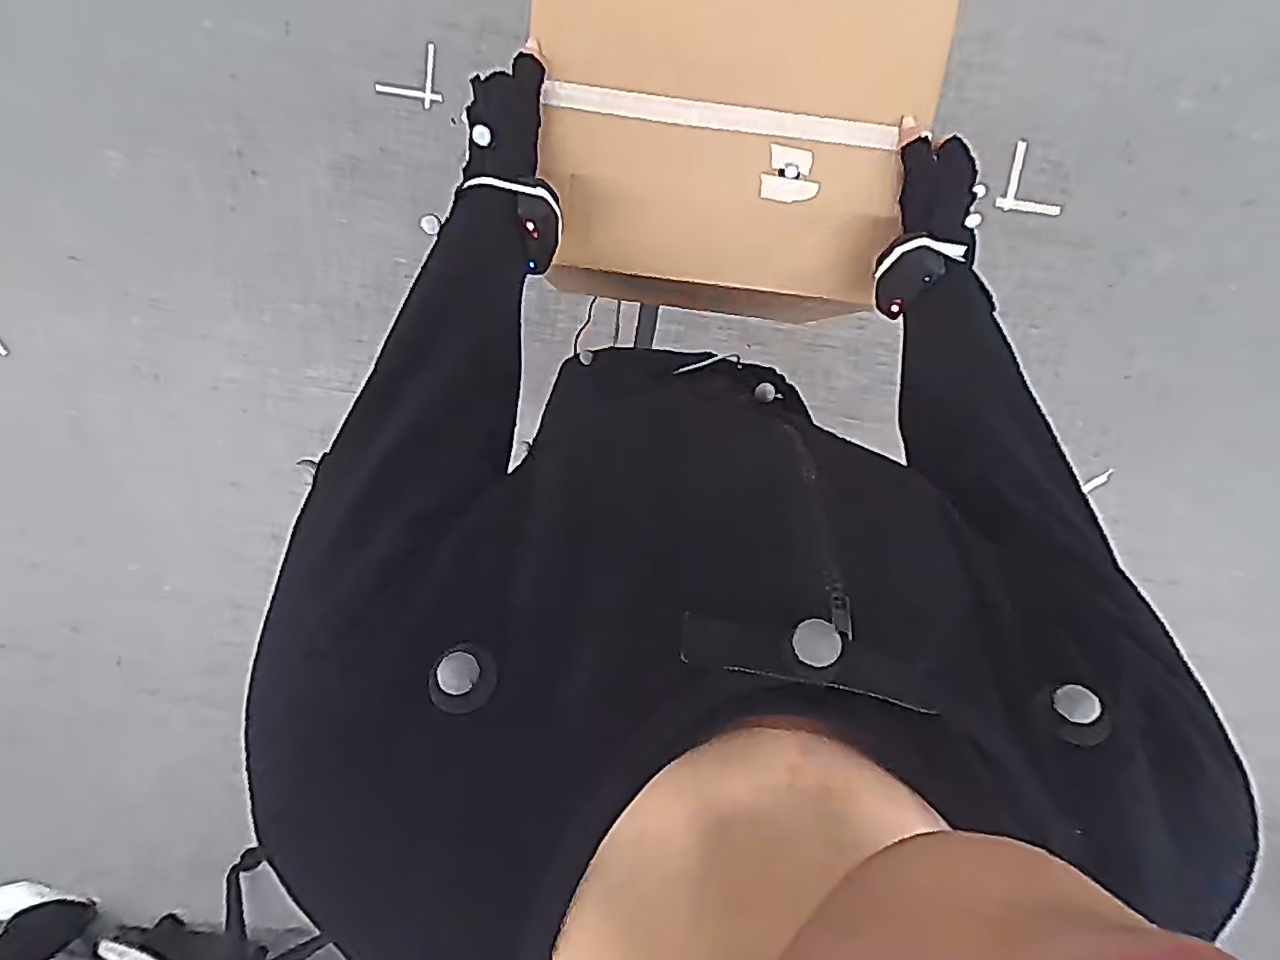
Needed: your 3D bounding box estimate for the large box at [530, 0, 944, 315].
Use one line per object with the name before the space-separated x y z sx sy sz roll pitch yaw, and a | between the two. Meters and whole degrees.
large box | 0.085 -0.401 0.701 0.408 0.320 0.320 6 104 -3
